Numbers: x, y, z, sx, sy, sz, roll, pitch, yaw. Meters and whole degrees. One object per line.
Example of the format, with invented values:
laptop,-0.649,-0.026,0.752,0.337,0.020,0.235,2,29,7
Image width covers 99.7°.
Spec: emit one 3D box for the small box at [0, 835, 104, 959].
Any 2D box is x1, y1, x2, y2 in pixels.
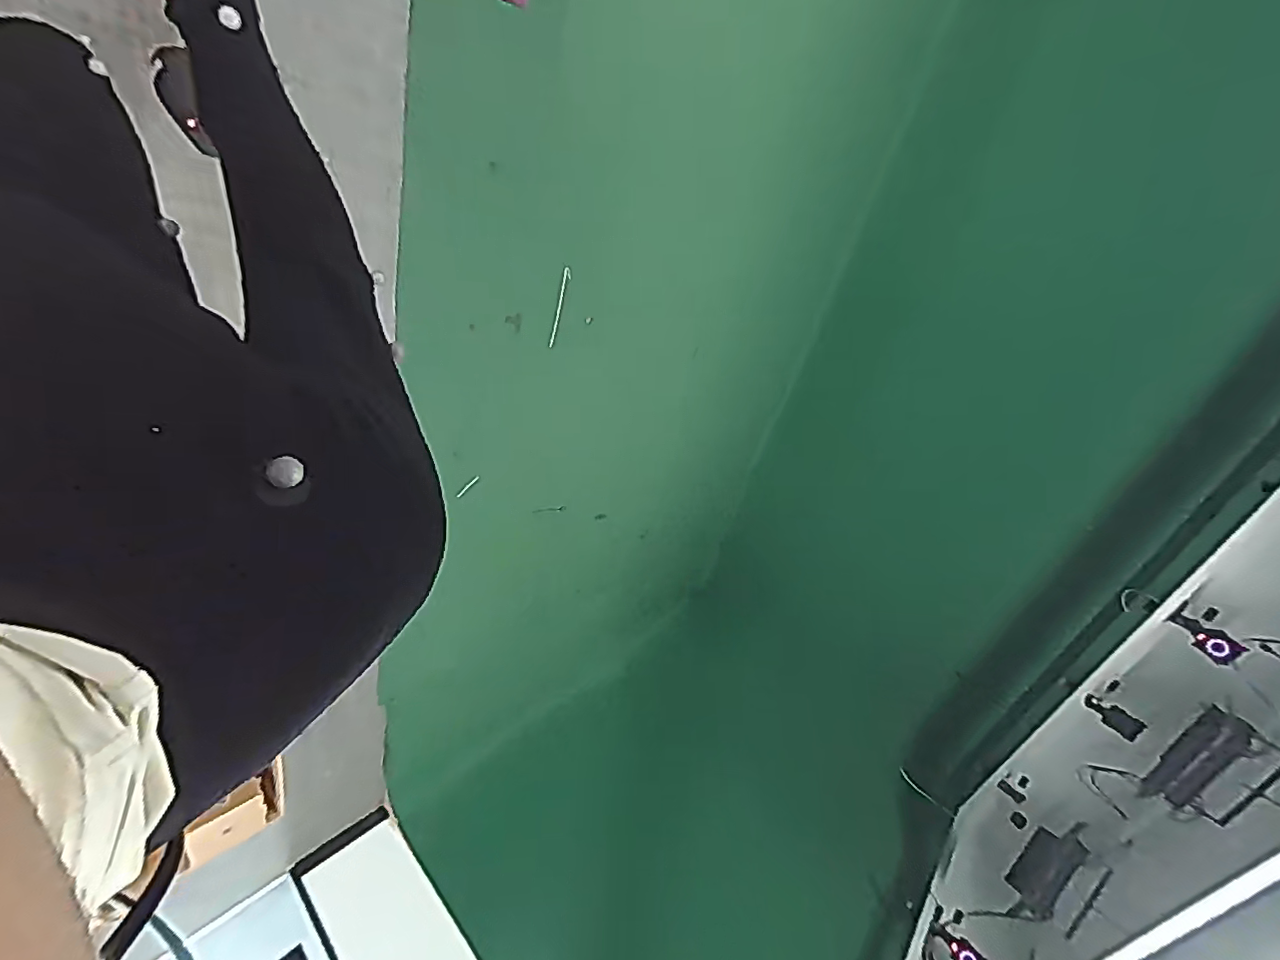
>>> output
small box,-1.387,0.983,1.258,0.168,0.176,0.179,-15,131,-47
